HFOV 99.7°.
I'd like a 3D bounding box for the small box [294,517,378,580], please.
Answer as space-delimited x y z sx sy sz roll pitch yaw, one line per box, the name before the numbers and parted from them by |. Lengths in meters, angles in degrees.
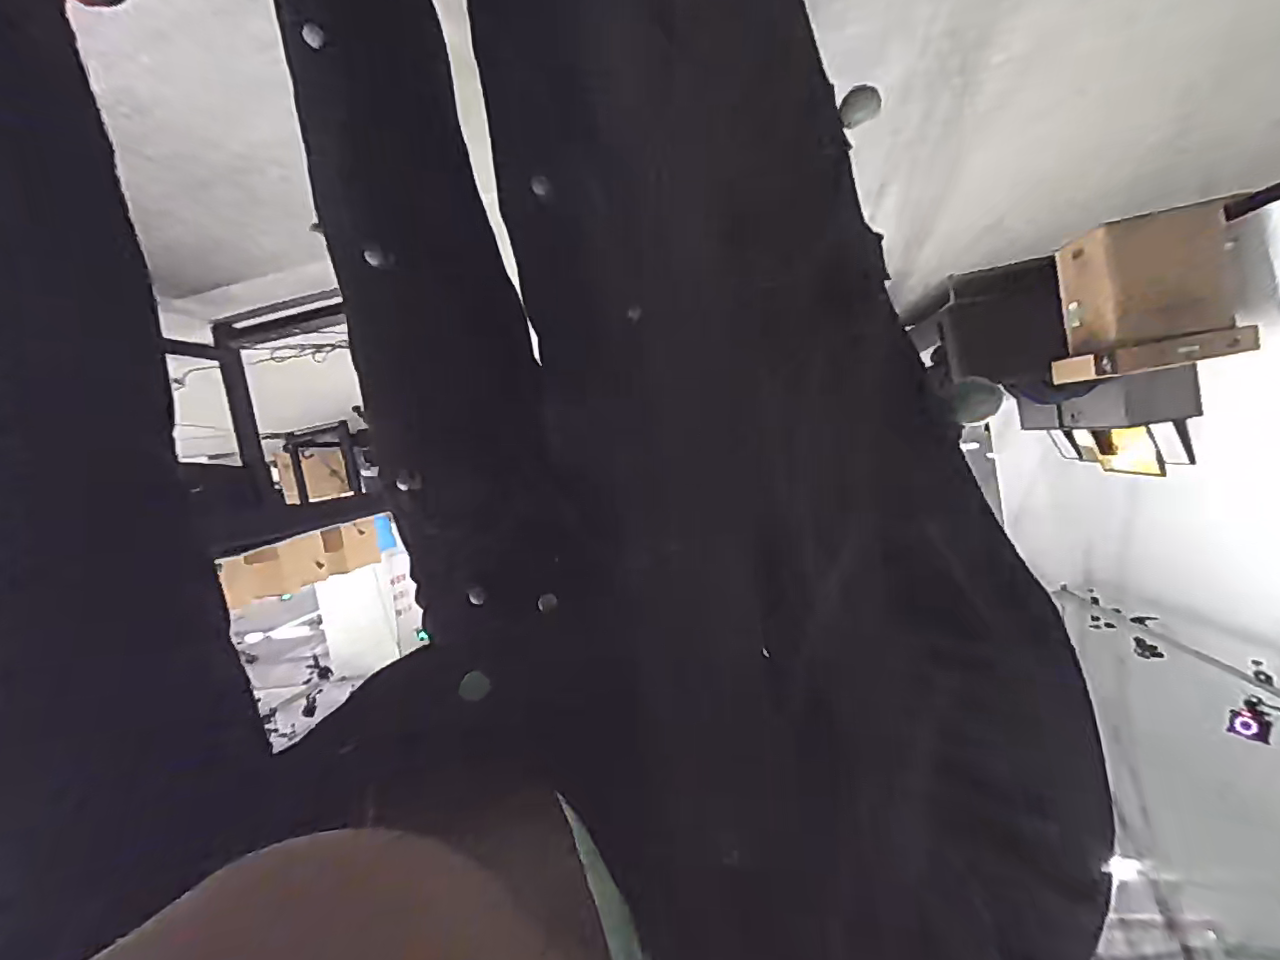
small box | -0.993 0.217 1.762 0.179 0.176 0.168 -9 -177 10
